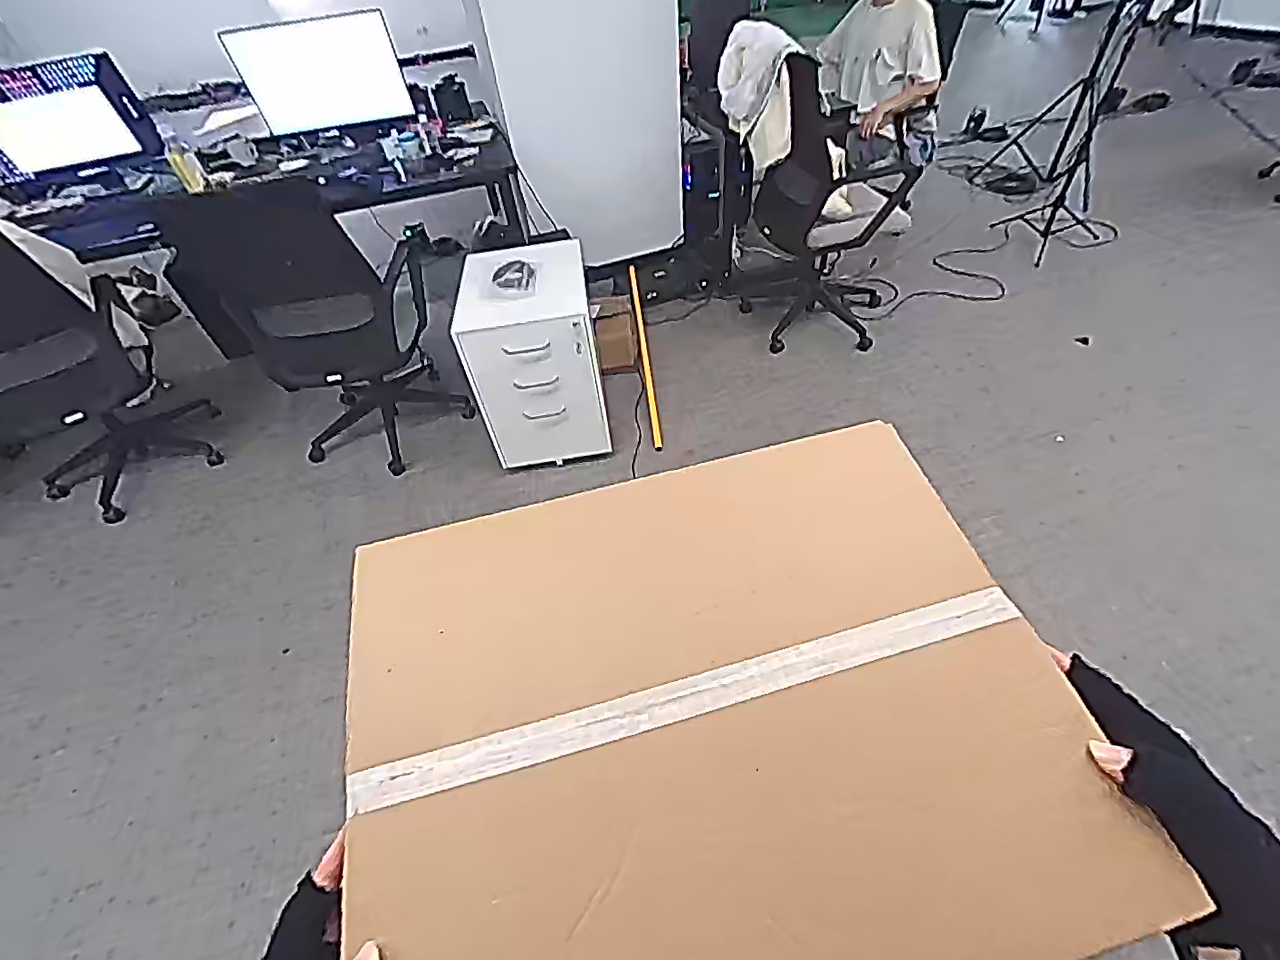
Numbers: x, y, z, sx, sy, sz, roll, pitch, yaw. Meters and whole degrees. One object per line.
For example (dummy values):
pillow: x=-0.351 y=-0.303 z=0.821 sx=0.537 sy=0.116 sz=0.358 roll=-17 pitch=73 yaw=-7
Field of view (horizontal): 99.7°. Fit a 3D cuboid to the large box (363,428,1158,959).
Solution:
large box: x=0.043 y=0.209 z=0.454 sx=0.408 sy=0.320 sz=0.320 roll=-15 pitch=57 yaw=-6
